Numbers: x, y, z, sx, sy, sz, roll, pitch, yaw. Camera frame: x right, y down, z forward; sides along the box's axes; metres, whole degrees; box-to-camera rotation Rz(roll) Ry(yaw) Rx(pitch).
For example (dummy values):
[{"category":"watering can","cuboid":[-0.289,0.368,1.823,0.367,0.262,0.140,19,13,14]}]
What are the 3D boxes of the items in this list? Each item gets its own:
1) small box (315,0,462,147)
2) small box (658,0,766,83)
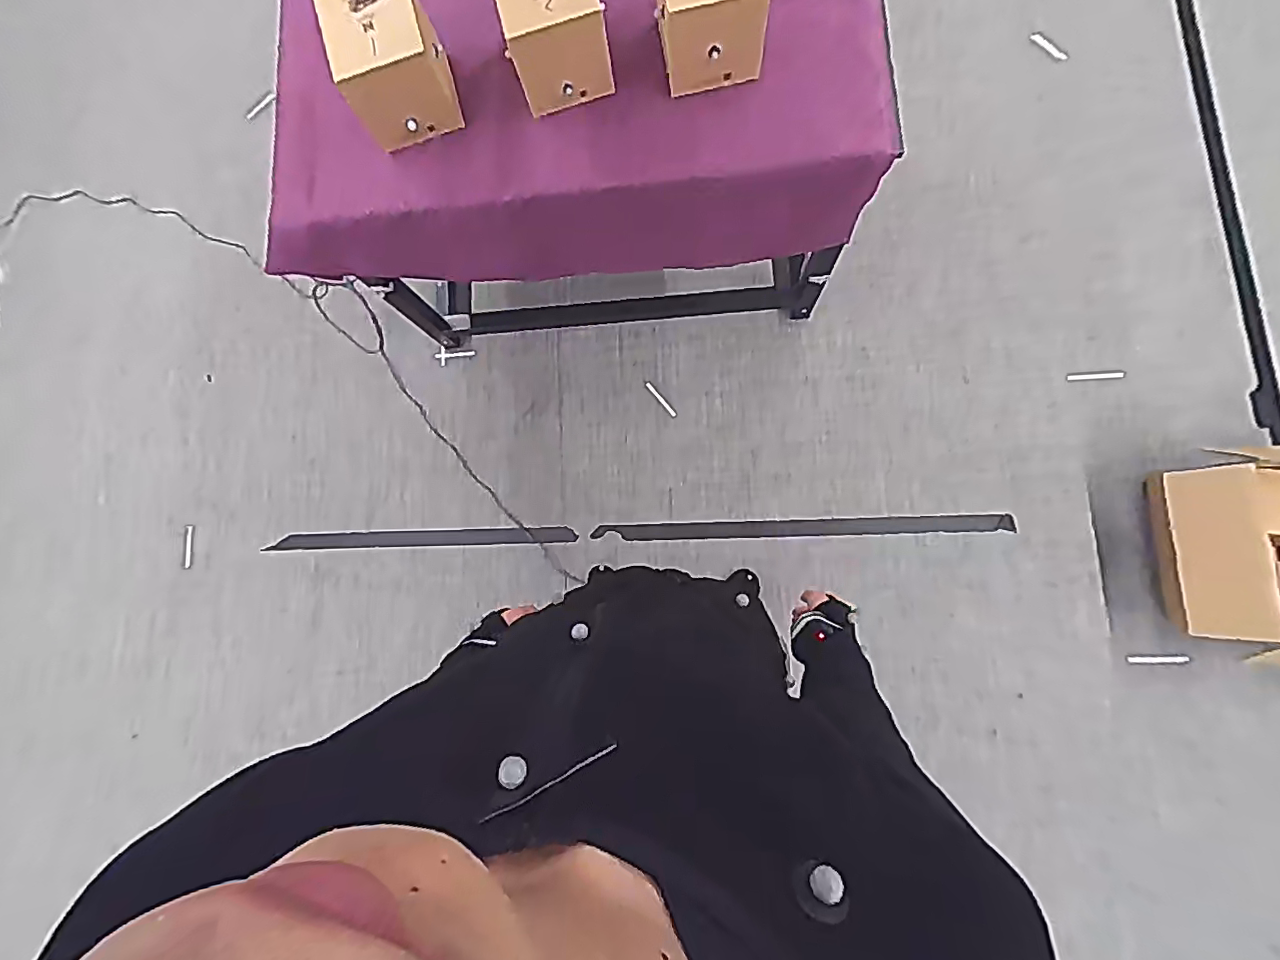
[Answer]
[{"category":"small box","cuboid":[-0.447,-0.757,0.980,0.168,0.176,0.179,-17,82,4]},{"category":"small box","cuboid":[0.120,-0.827,0.929,0.168,0.176,0.179,-9,82,4]}]
